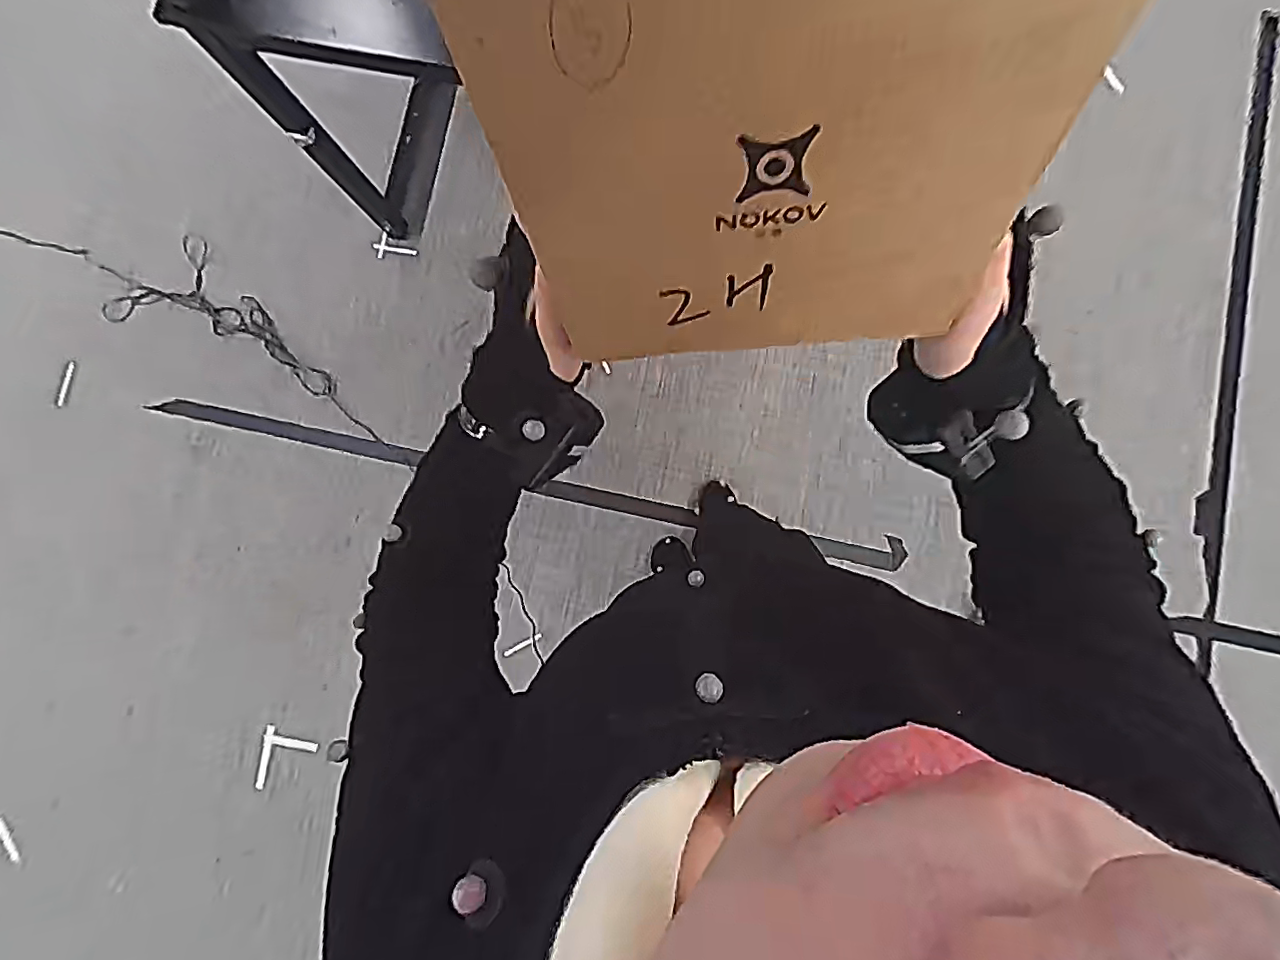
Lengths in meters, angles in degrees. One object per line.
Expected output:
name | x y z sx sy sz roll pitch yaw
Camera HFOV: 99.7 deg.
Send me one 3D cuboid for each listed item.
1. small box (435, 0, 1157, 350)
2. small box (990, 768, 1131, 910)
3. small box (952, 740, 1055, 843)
small box | 0.038 -0.170 0.187 0.168 0.179 0.176 -2 68 7
small box | 0.898 0.767 1.173 0.168 0.176 0.179 13 87 3
small box | 0.904 0.780 1.336 0.168 0.176 0.179 14 86 3
